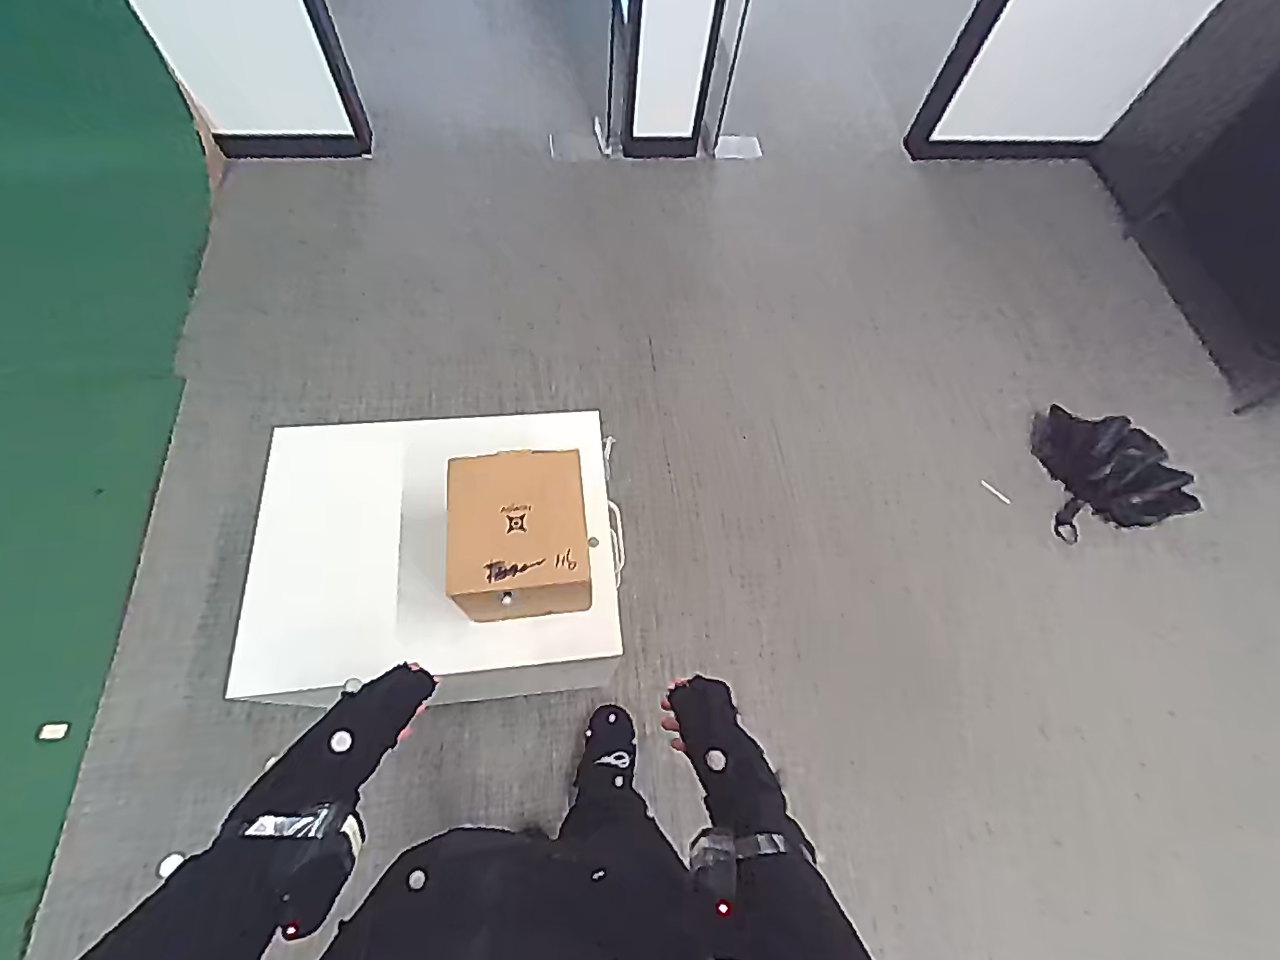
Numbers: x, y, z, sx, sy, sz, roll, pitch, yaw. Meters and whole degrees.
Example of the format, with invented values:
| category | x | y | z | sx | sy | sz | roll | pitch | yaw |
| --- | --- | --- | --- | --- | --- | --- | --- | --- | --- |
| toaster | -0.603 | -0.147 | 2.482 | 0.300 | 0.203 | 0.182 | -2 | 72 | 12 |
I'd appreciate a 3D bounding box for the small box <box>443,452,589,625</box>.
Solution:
| category | x | y | z | sx | sy | sz | roll | pitch | yaw |
| --- | --- | --- | --- | --- | --- | --- | --- | --- | --- |
| small box | -0.158 | 0.082 | 0.724 | 0.168 | 0.176 | 0.179 | -5 | 65 | -7 |
